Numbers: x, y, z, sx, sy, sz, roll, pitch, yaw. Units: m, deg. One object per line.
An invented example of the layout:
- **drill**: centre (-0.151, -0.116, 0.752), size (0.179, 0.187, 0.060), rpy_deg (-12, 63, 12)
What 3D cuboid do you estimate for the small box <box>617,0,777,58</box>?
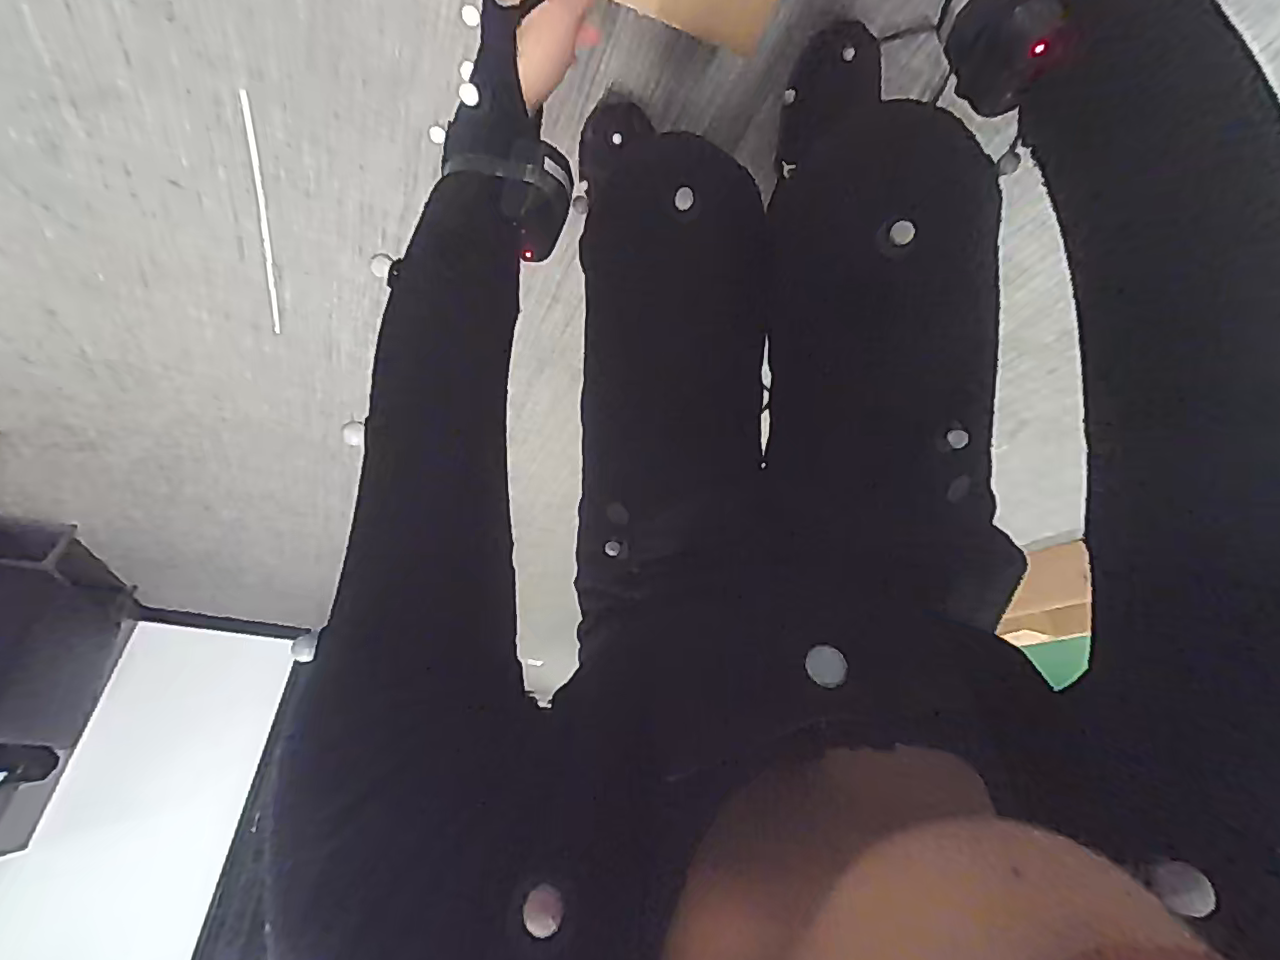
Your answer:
- **small box**: centre (0.043, -0.491, 0.422), size (0.179, 0.176, 0.168), rpy_deg (10, 151, -17)
